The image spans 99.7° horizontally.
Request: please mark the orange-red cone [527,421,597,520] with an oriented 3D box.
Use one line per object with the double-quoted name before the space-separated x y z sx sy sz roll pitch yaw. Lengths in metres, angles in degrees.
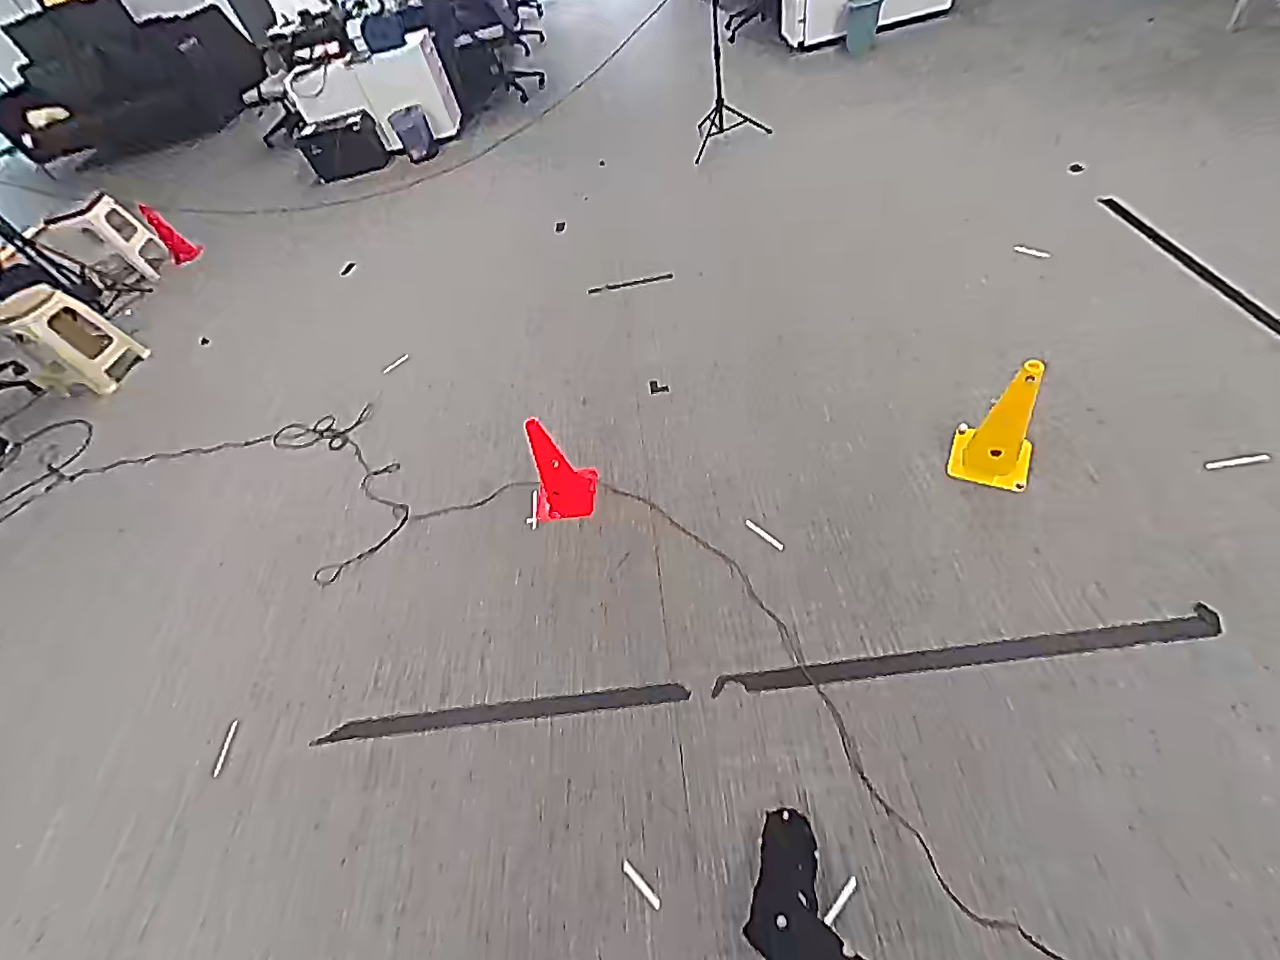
"orange-red cone" -0.275 -0.052 1.684 0.199 0.360 0.198 -3 53 10
